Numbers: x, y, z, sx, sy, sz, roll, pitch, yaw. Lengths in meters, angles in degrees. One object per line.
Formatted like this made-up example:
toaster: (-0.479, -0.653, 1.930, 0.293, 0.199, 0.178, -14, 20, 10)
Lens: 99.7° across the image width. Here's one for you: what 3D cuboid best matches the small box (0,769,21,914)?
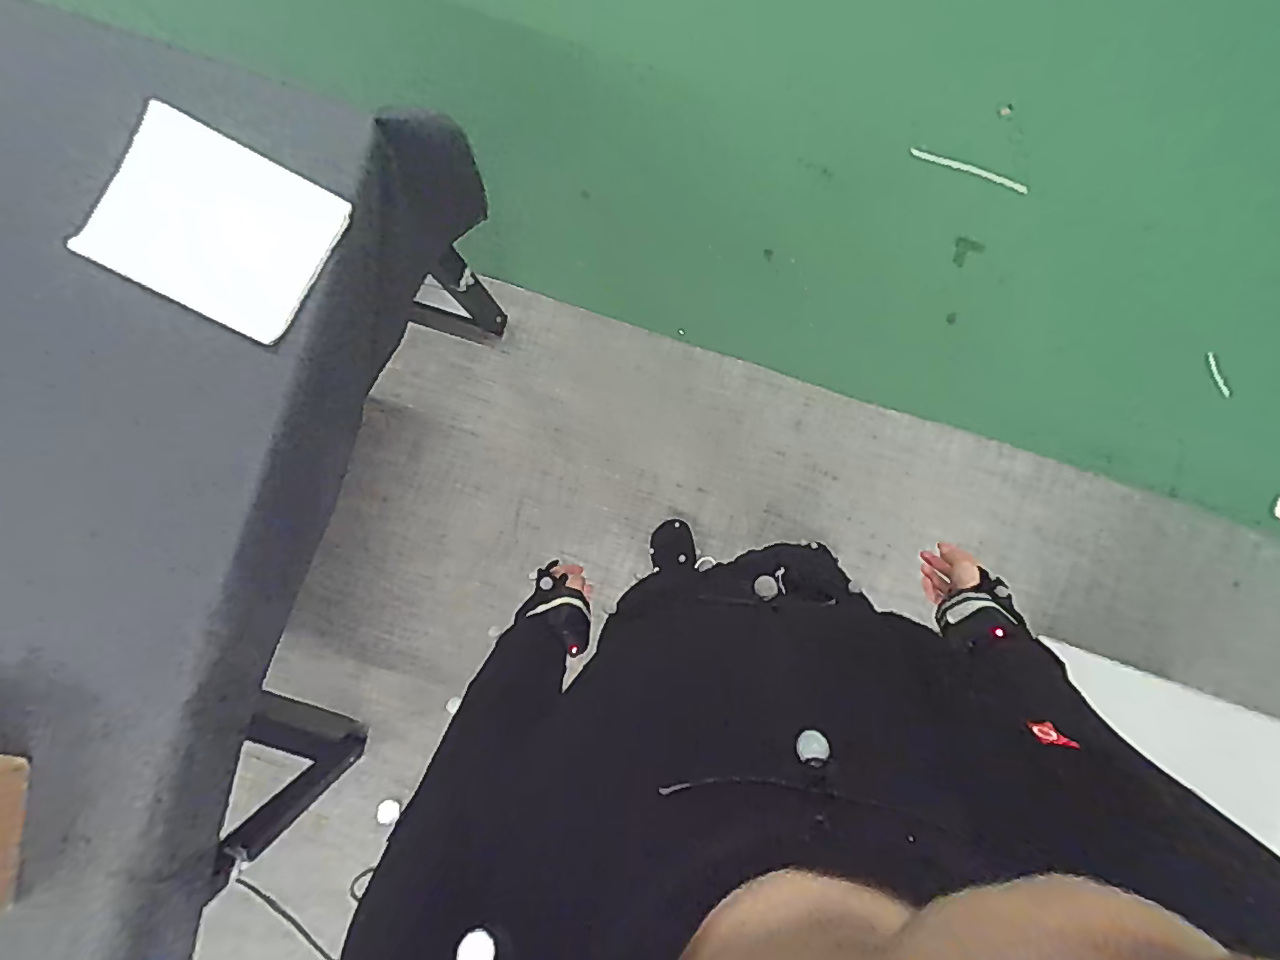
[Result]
small box: (-0.798, 0.413, 0.543, 0.168, 0.176, 0.179, 4, 87, 1)
